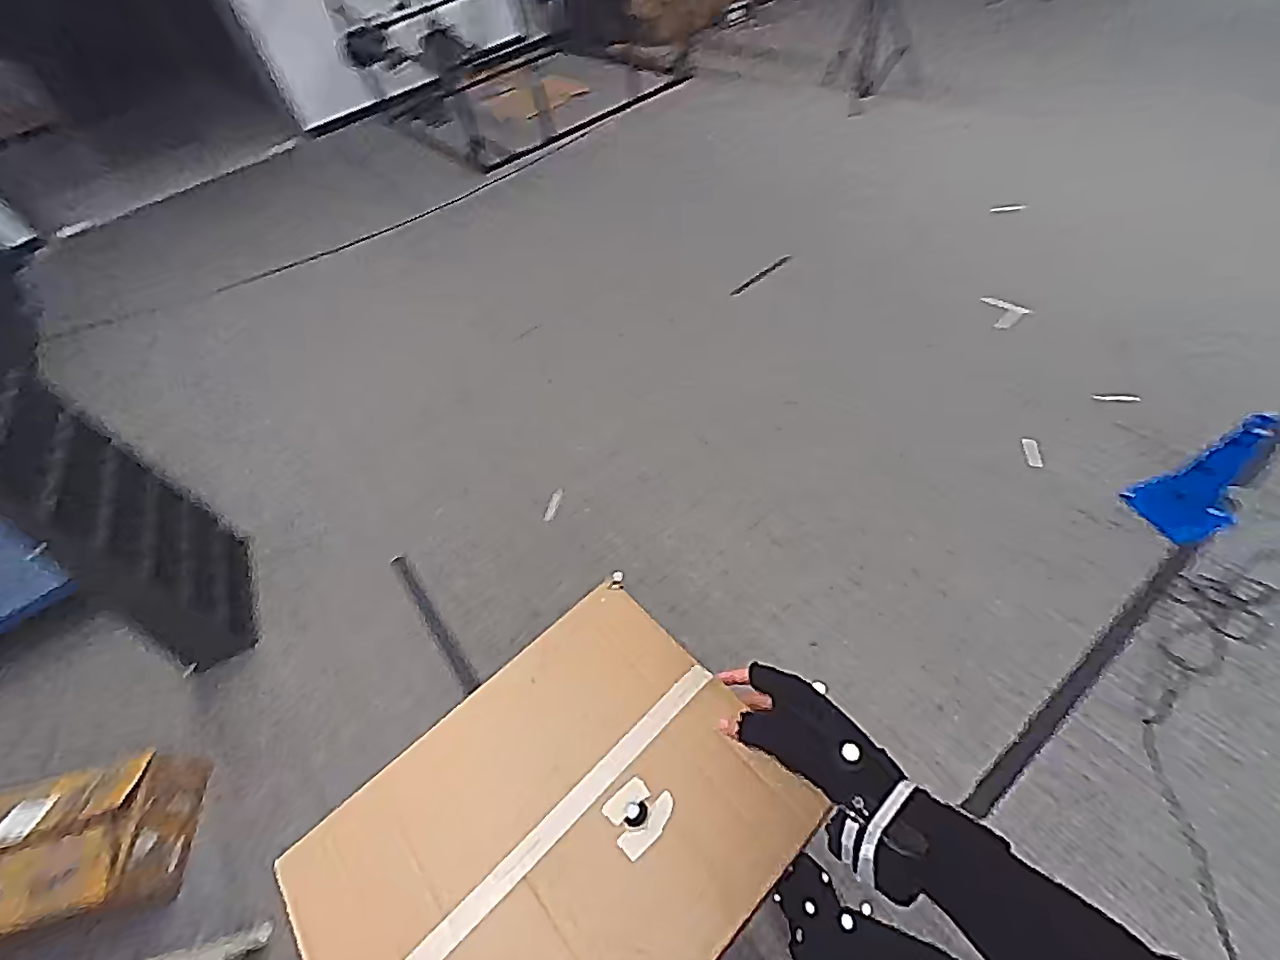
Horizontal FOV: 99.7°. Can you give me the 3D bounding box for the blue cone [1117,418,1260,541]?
[{"bbox_3d":[1.492,-0.025,1.425,0.192,0.380,0.193,-20,50,-3],"label":"blue cone"}]
